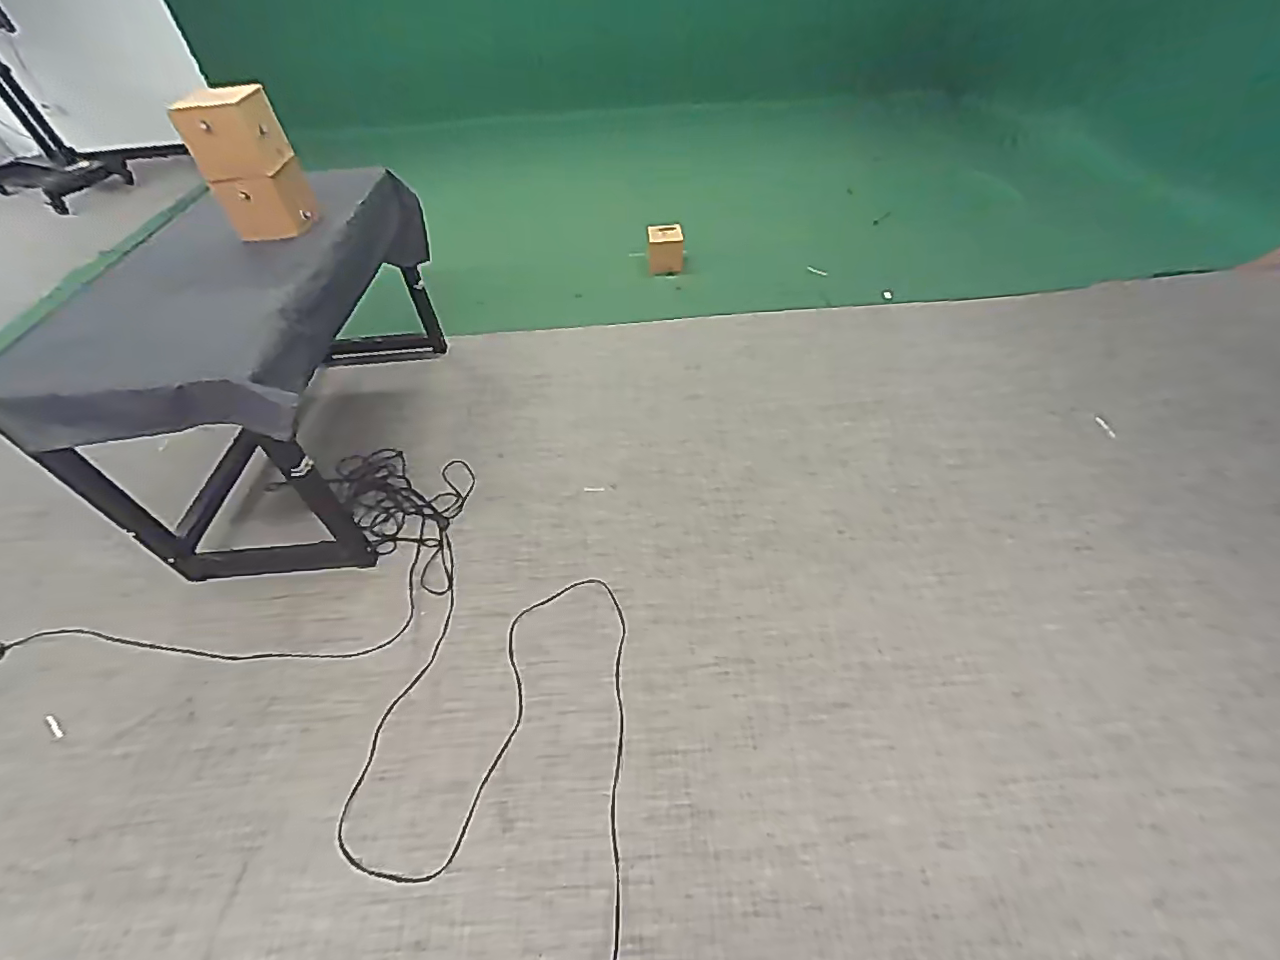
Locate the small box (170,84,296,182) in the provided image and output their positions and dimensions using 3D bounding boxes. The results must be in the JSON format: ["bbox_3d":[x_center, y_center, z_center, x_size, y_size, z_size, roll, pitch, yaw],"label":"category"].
[{"bbox_3d":[-1.048,-0.906,1.416,0.179,0.176,0.168,-5,49,2],"label":"small box"}]

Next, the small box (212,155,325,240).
[{"bbox_3d":[-1.046,-0.802,1.541,0.179,0.176,0.168,-3,49,1],"label":"small box"}]
